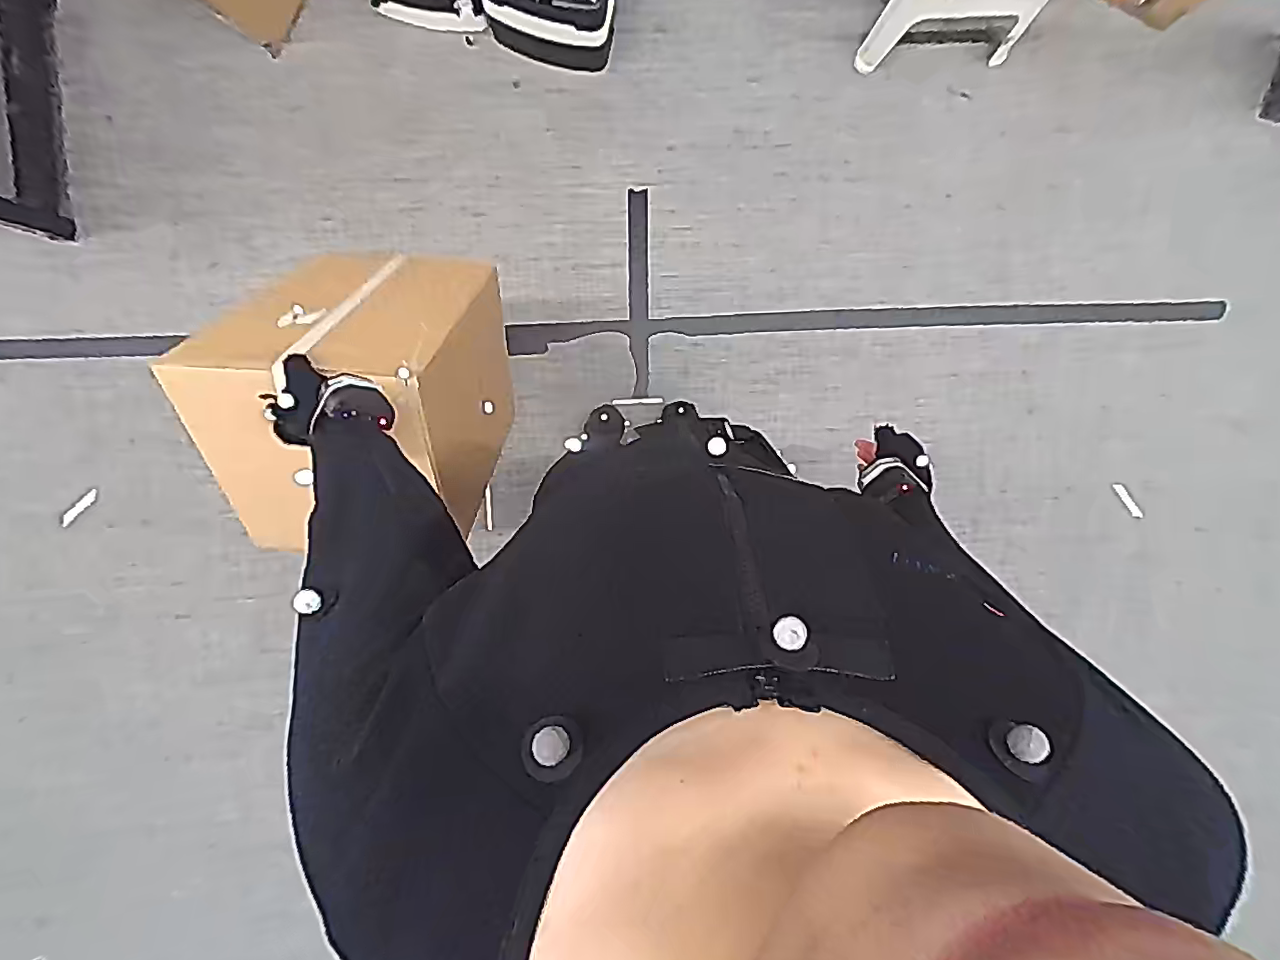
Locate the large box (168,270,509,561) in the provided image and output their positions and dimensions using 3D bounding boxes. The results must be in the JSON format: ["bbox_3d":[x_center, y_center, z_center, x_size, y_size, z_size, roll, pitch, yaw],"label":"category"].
[{"bbox_3d":[-0.422,-0.122,0.897,0.320,0.408,0.320,3,129,1],"label":"large box"}]
